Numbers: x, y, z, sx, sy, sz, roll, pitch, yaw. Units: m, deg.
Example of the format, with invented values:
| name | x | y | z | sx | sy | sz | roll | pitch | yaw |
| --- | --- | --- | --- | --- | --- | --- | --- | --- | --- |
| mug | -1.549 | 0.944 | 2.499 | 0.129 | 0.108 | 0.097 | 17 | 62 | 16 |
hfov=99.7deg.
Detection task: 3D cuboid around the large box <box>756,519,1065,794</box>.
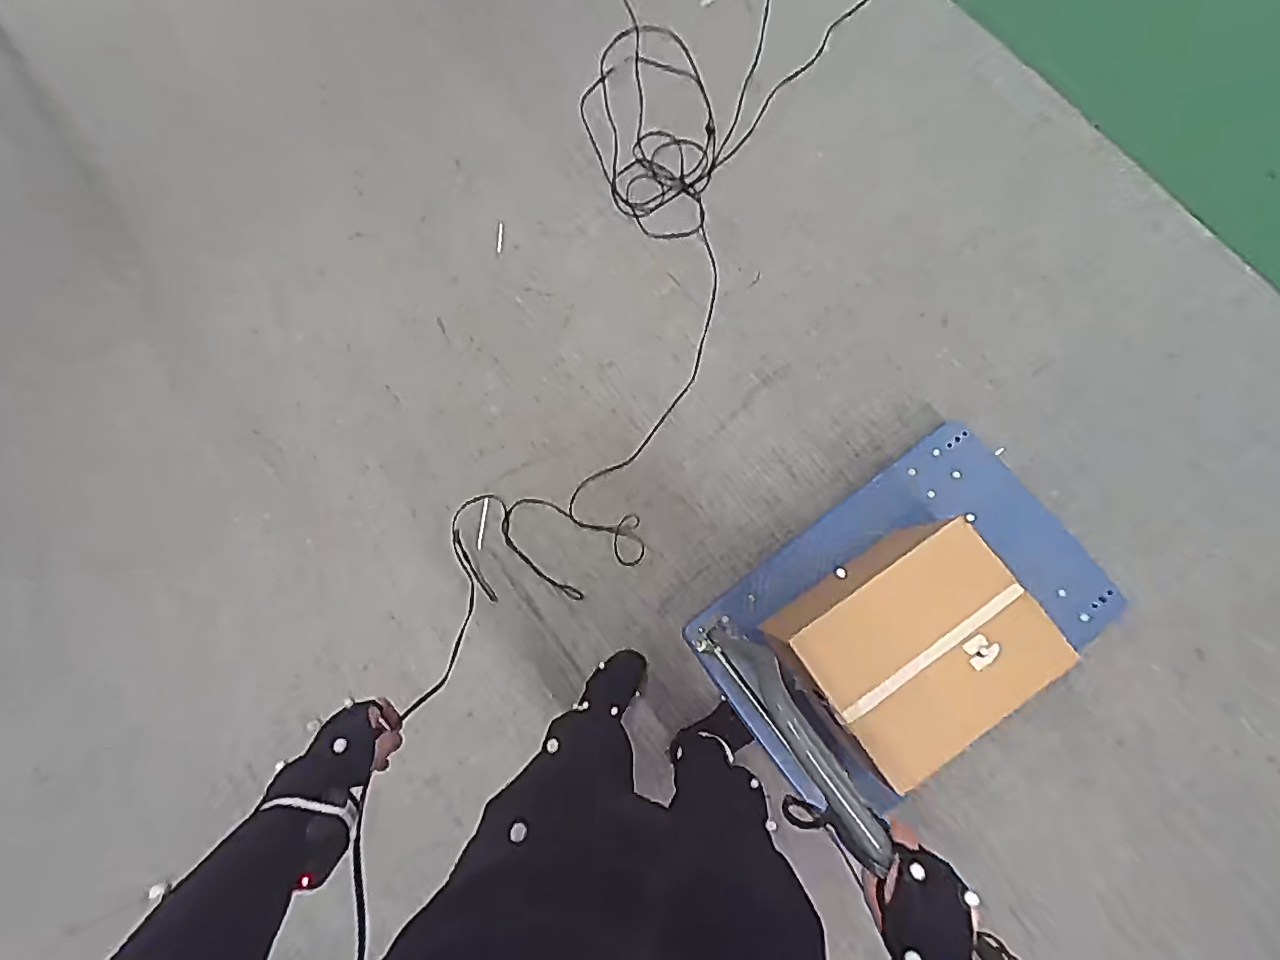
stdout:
| name | x | y | z | sx | sy | sz | roll | pitch | yaw |
| --- | --- | --- | --- | --- | --- | --- | --- | --- | --- |
| large box | 0.508 | 0.334 | 1.106 | 0.408 | 0.320 | 0.320 | -34 | 81 | -5 |
